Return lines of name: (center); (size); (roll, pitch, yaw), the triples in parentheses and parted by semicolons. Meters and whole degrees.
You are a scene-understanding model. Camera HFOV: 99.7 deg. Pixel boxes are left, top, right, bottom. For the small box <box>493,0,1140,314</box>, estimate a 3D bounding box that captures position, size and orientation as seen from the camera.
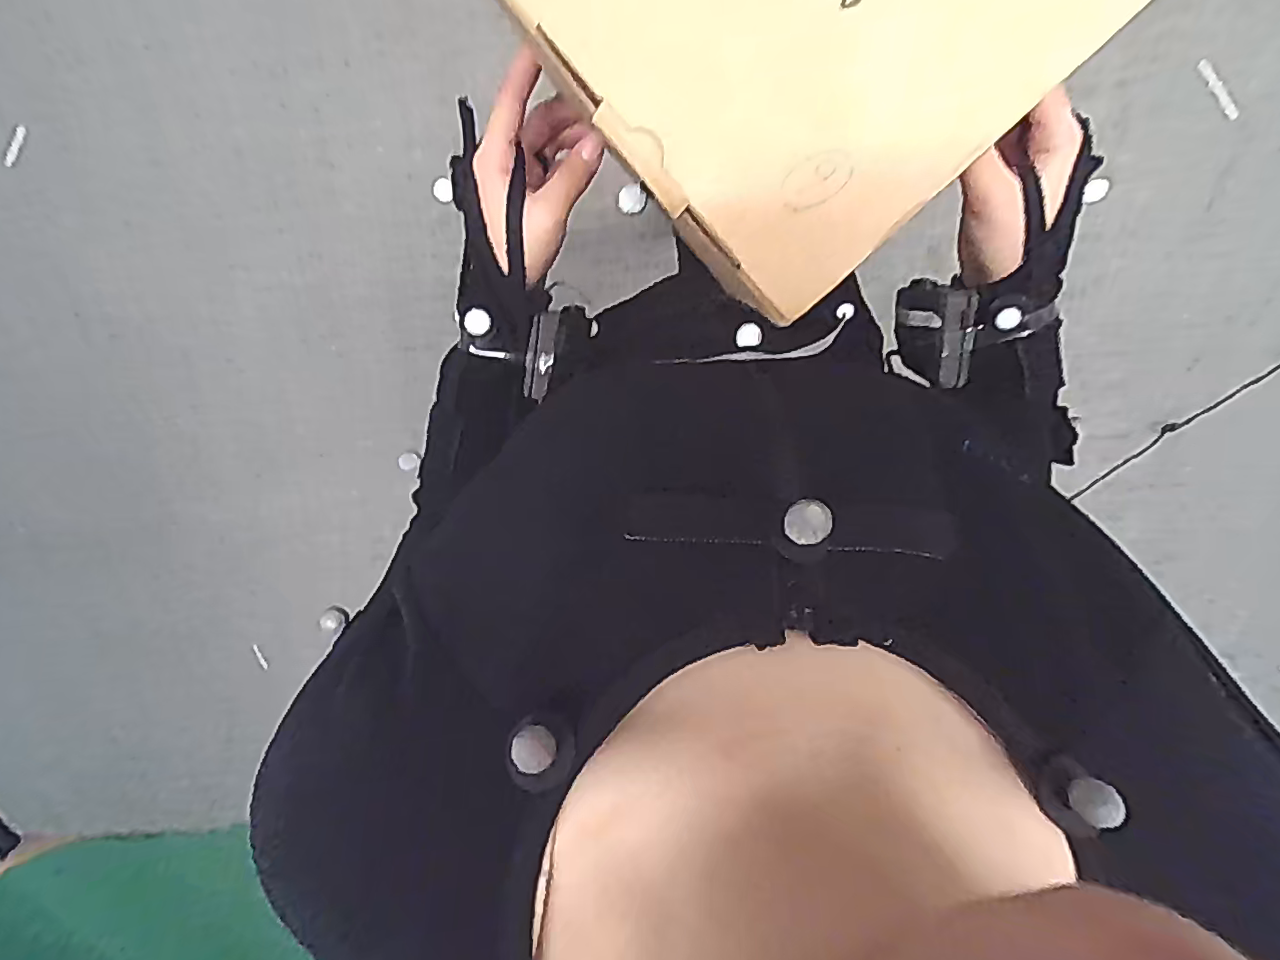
small box: (0.065, -0.202, 0.241); (0.179, 0.176, 0.168); (-41, 105, 18)
